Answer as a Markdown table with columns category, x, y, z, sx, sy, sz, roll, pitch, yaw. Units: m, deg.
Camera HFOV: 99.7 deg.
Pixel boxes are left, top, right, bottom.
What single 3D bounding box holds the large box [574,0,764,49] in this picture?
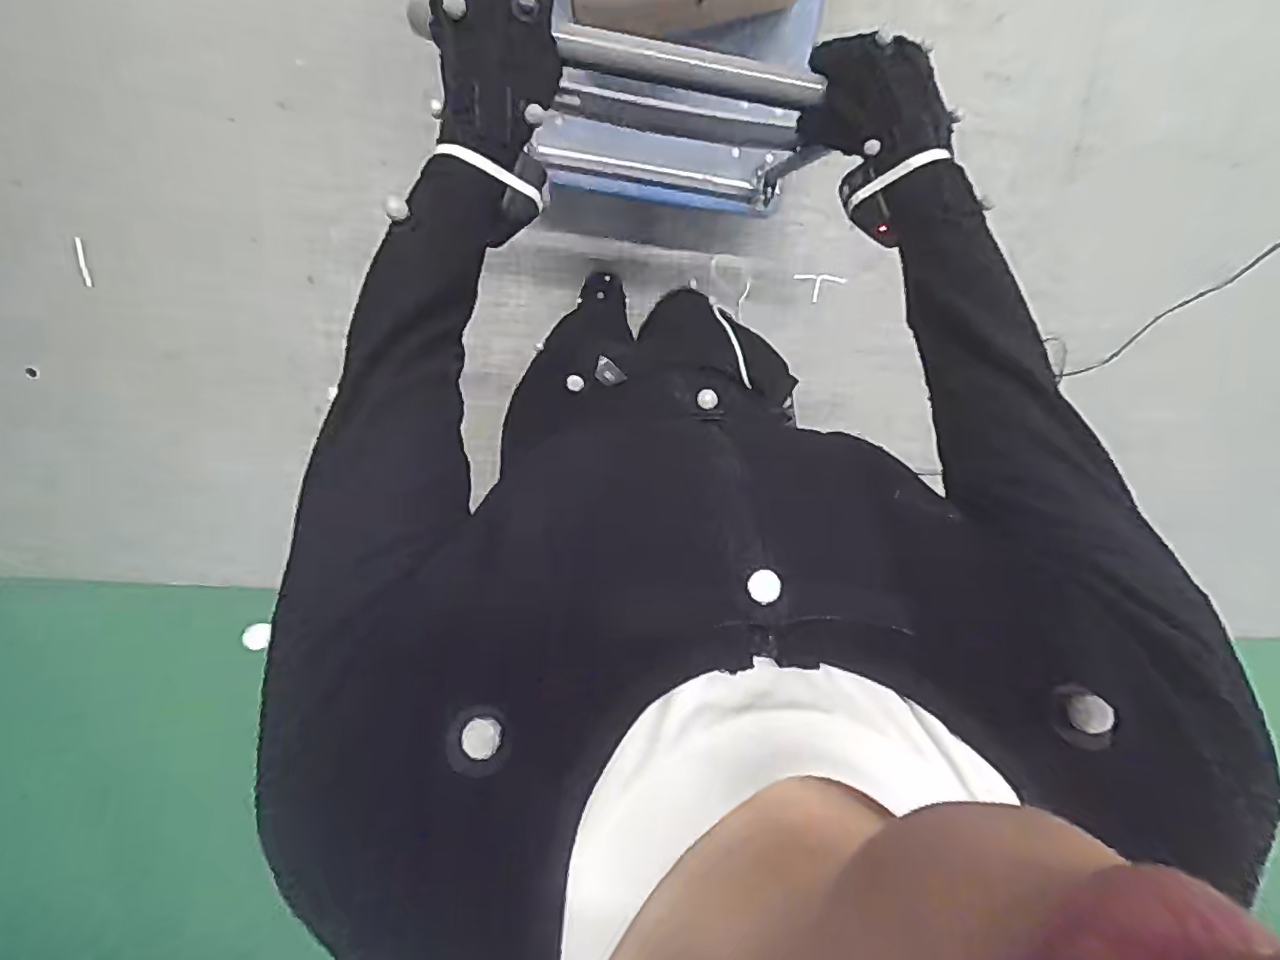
| category | x | y | z | sx | sy | sz | roll | pitch | yaw |
| --- | --- | --- | --- | --- | --- | --- | --- | --- | --- |
| large box | 0.064 | -0.929 | 0.811 | 0.408 | 0.320 | 0.320 | -13 | 111 | 3 |
